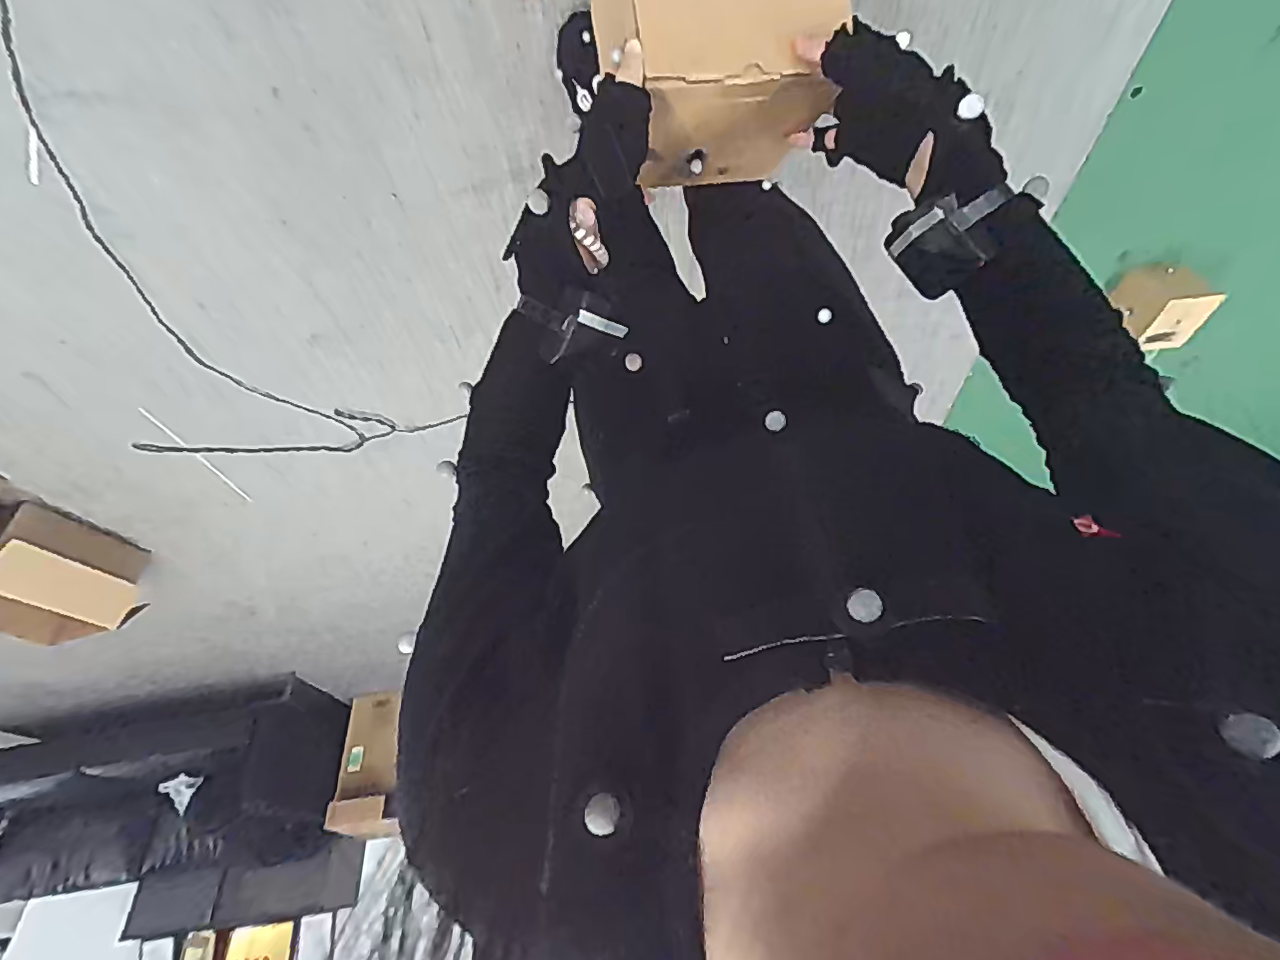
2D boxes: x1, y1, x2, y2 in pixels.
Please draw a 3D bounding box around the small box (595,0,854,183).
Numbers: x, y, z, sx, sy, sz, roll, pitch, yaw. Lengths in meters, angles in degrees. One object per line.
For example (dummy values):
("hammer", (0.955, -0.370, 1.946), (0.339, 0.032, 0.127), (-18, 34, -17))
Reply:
("small box", (0.058, -0.387, 0.465), (0.168, 0.179, 0.176), (-9, -173, -9))
